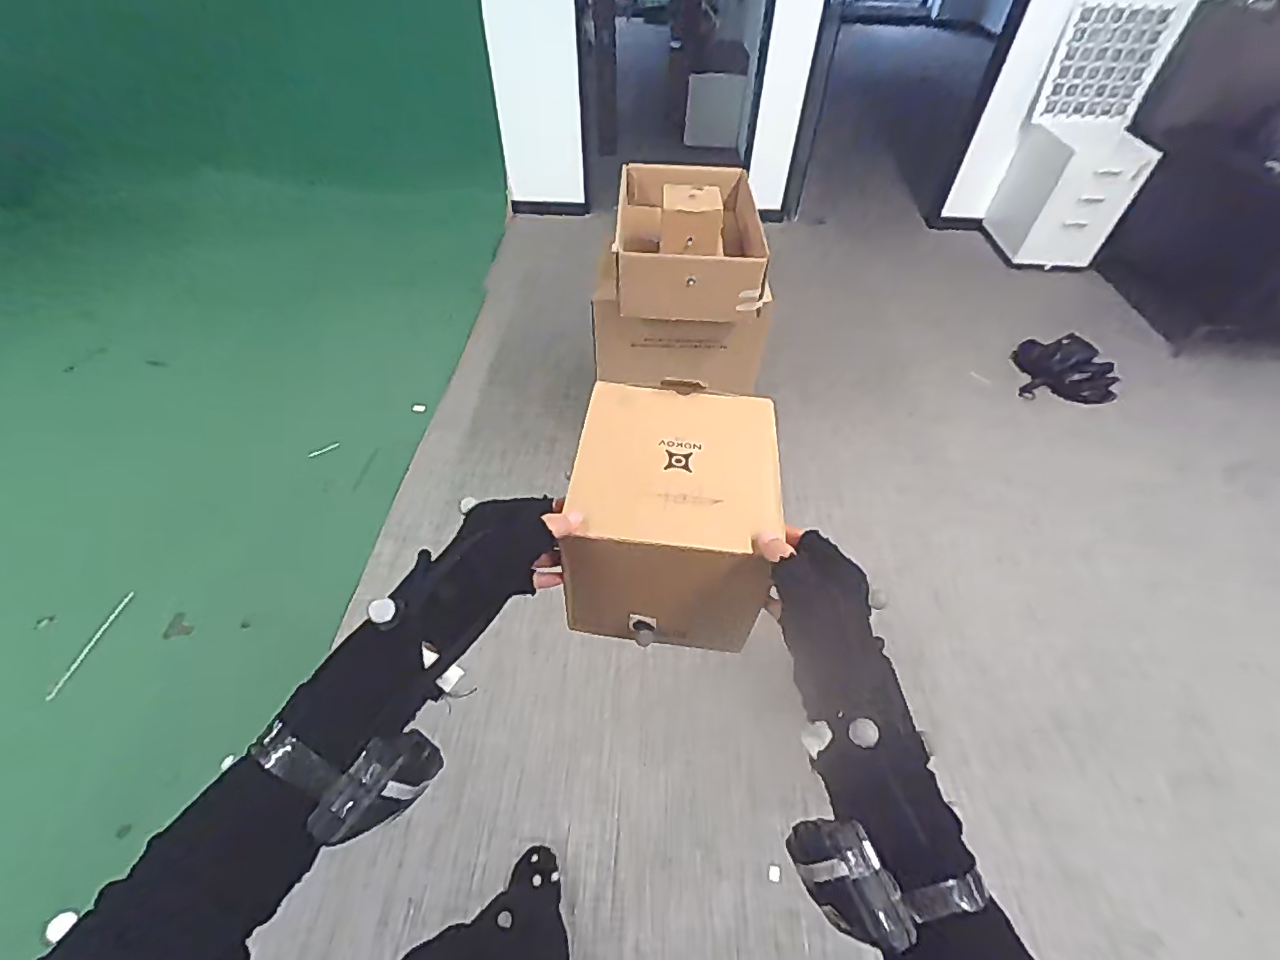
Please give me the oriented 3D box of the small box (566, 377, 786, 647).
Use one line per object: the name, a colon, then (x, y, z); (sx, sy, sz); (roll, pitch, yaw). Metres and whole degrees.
small box: (0.029, 0.031, 0.505); (0.168, 0.176, 0.179); (7, 50, 2)
